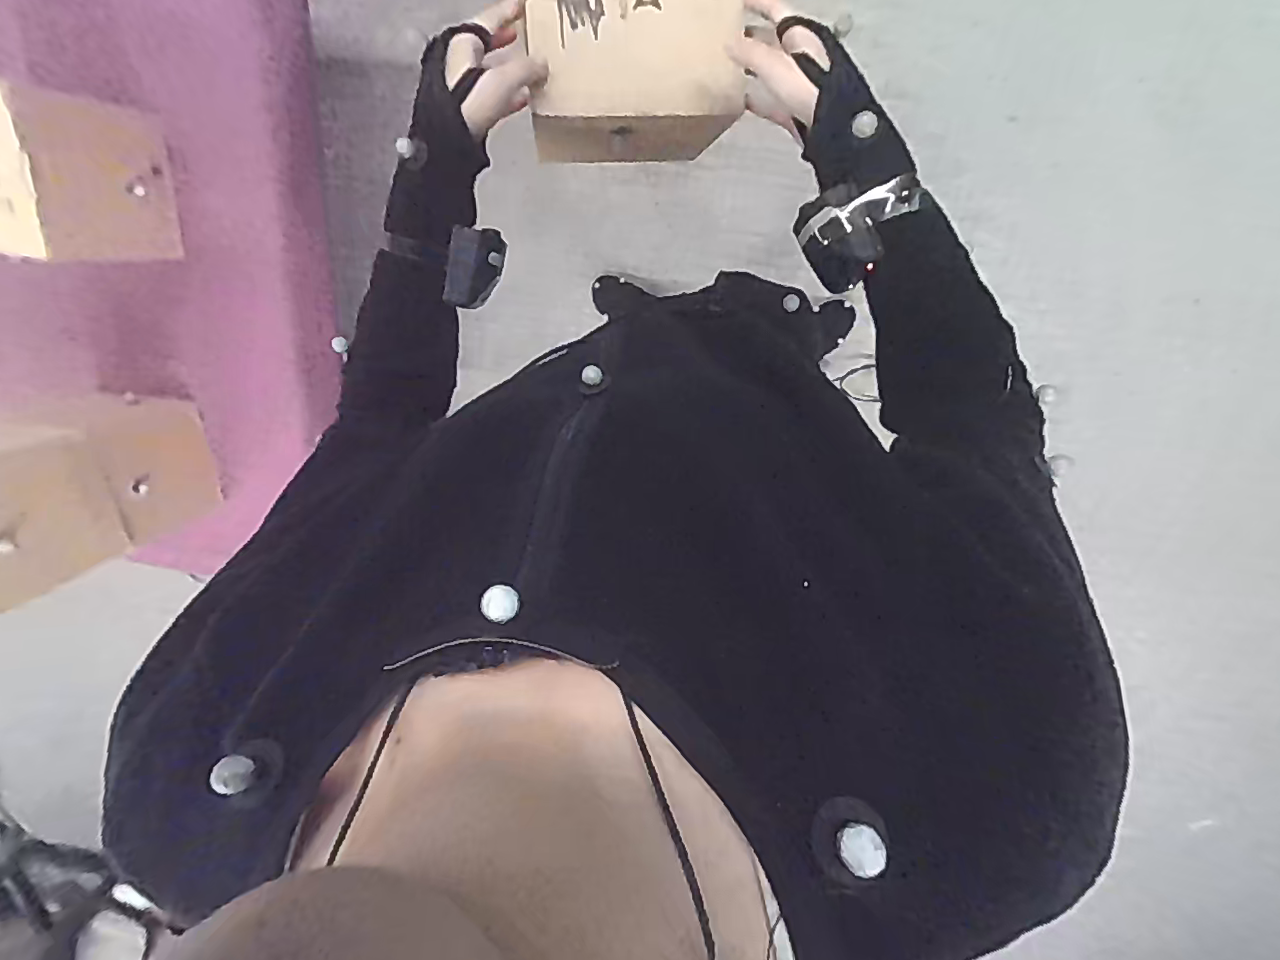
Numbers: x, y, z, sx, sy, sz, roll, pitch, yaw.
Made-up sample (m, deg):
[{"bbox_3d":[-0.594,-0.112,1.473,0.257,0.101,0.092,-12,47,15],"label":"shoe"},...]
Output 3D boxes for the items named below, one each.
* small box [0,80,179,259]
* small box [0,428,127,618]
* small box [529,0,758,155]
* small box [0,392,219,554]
[{"bbox_3d":[-0.700,-0.357,0.627,0.179,0.176,0.168,11,114,2],"label":"small box"},{"bbox_3d":[-0.772,0.041,0.629,0.168,0.176,0.179,3,114,5],"label":"small box"},{"bbox_3d":[-0.008,-0.397,0.475,0.179,0.176,0.168,-5,111,-9],"label":"small box"},{"bbox_3d":[-0.759,-0.017,0.779,0.168,0.176,0.179,5,113,4],"label":"small box"}]
